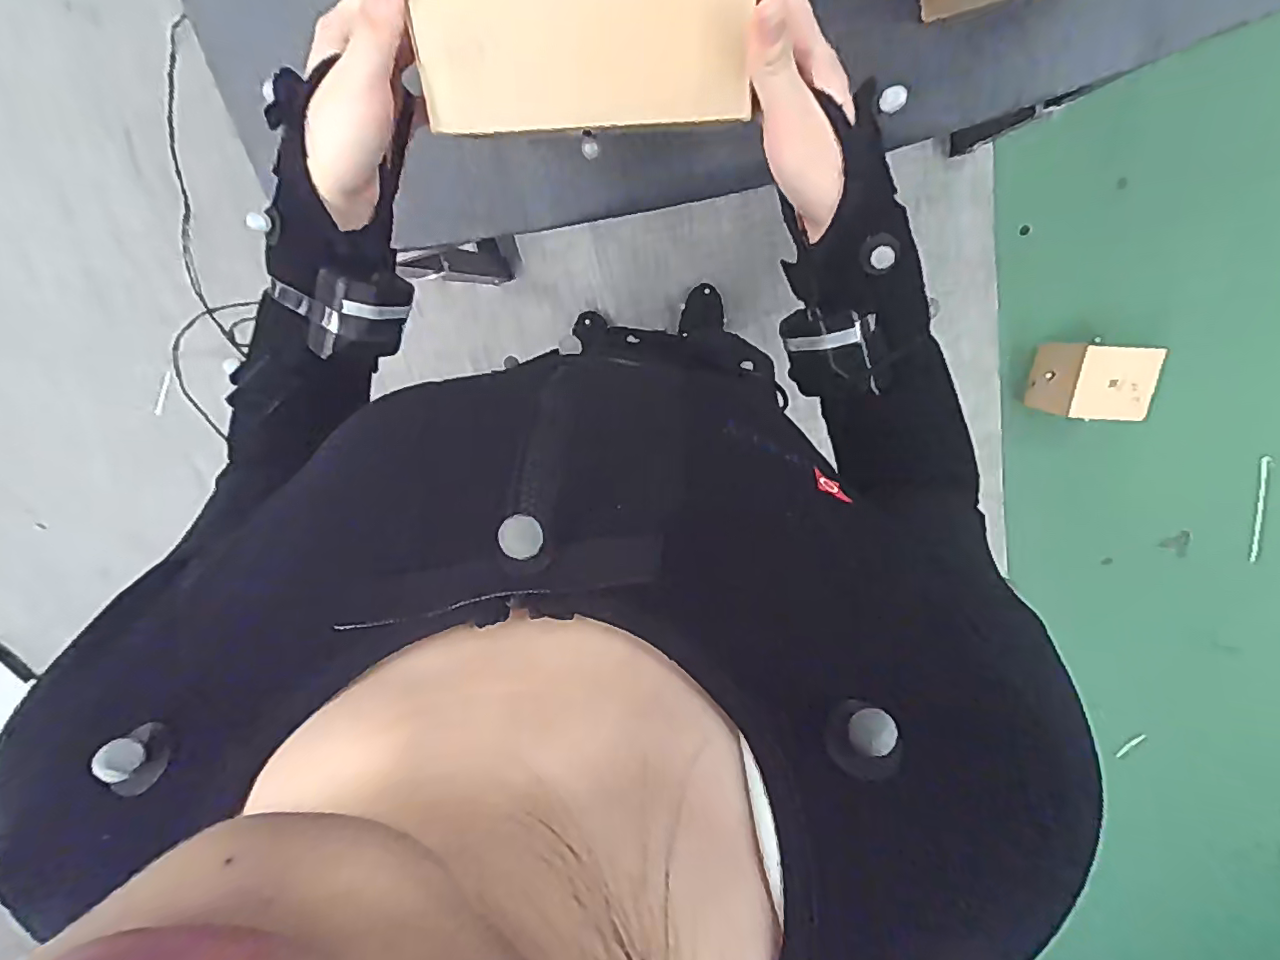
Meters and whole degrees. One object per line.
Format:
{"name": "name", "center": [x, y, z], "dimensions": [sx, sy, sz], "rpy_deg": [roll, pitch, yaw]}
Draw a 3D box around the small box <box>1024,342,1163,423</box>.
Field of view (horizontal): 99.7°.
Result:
{"name": "small box", "center": [1.077, -0.240, 1.305], "dimensions": [0.179, 0.176, 0.168], "rpy_deg": [3, 109, 1]}
